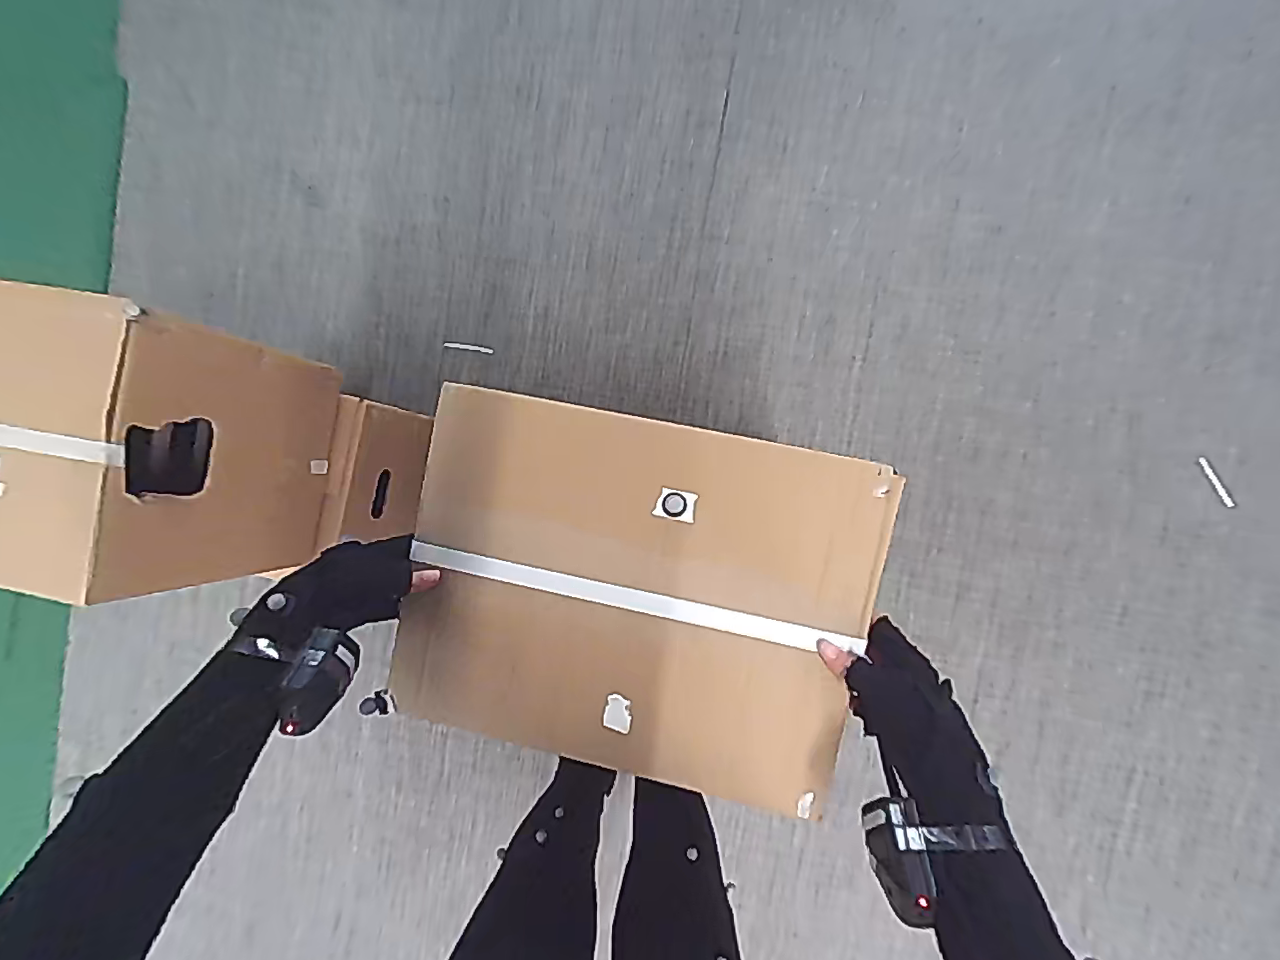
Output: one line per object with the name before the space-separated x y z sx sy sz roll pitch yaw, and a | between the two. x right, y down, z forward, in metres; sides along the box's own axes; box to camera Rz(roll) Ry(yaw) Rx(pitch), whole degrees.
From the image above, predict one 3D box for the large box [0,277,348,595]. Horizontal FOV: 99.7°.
large box | -0.691 -0.058 0.718 0.408 0.320 0.320 10 90 6
